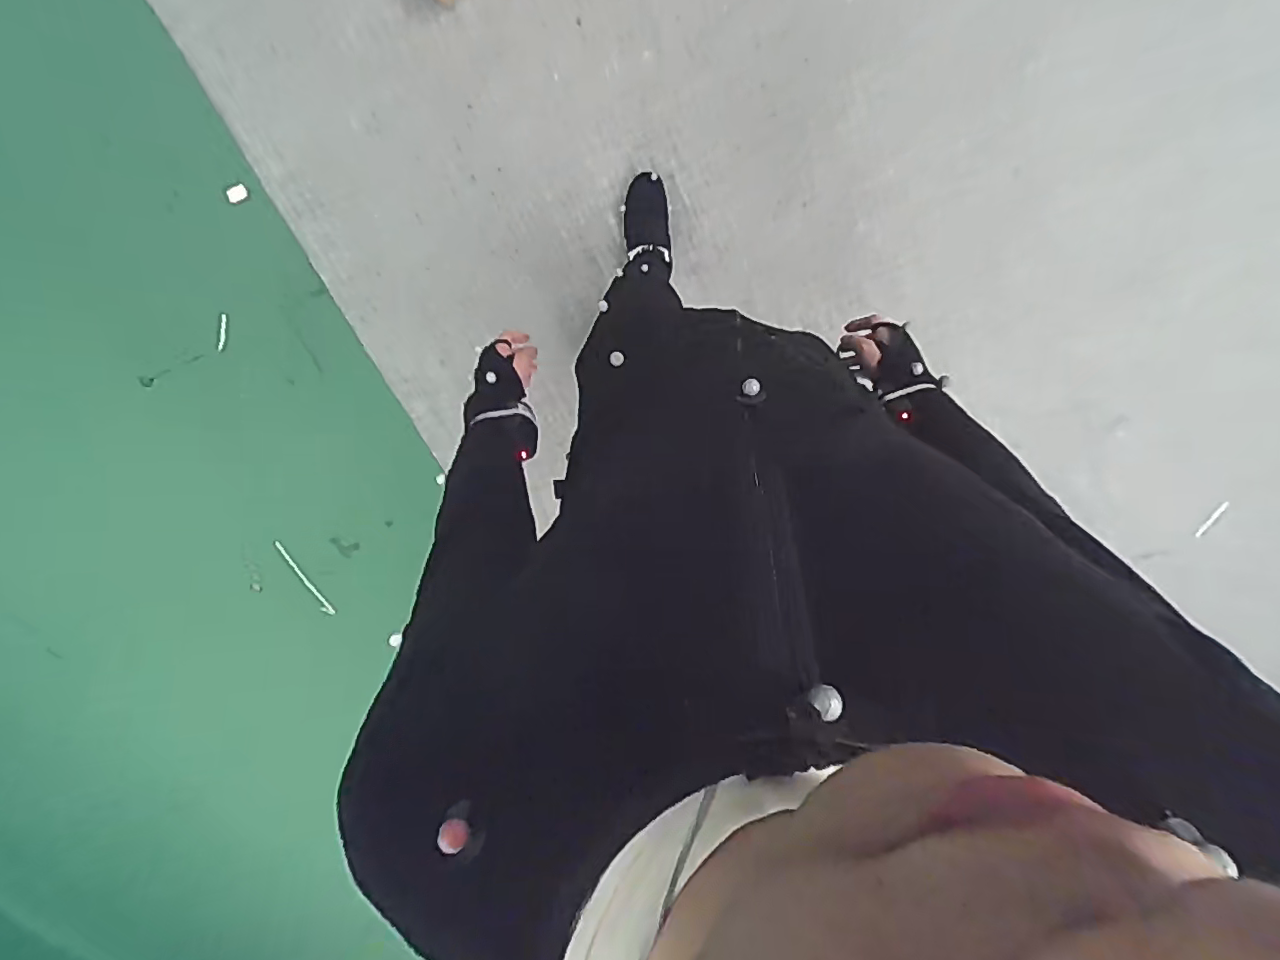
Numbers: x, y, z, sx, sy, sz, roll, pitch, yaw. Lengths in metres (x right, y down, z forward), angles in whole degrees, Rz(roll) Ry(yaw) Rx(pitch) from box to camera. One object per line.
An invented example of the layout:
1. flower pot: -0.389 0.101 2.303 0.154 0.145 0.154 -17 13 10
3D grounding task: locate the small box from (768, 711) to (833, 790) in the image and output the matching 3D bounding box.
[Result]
1. small box: 0.525 0.890 1.811 0.168 0.176 0.179 -19 114 8
